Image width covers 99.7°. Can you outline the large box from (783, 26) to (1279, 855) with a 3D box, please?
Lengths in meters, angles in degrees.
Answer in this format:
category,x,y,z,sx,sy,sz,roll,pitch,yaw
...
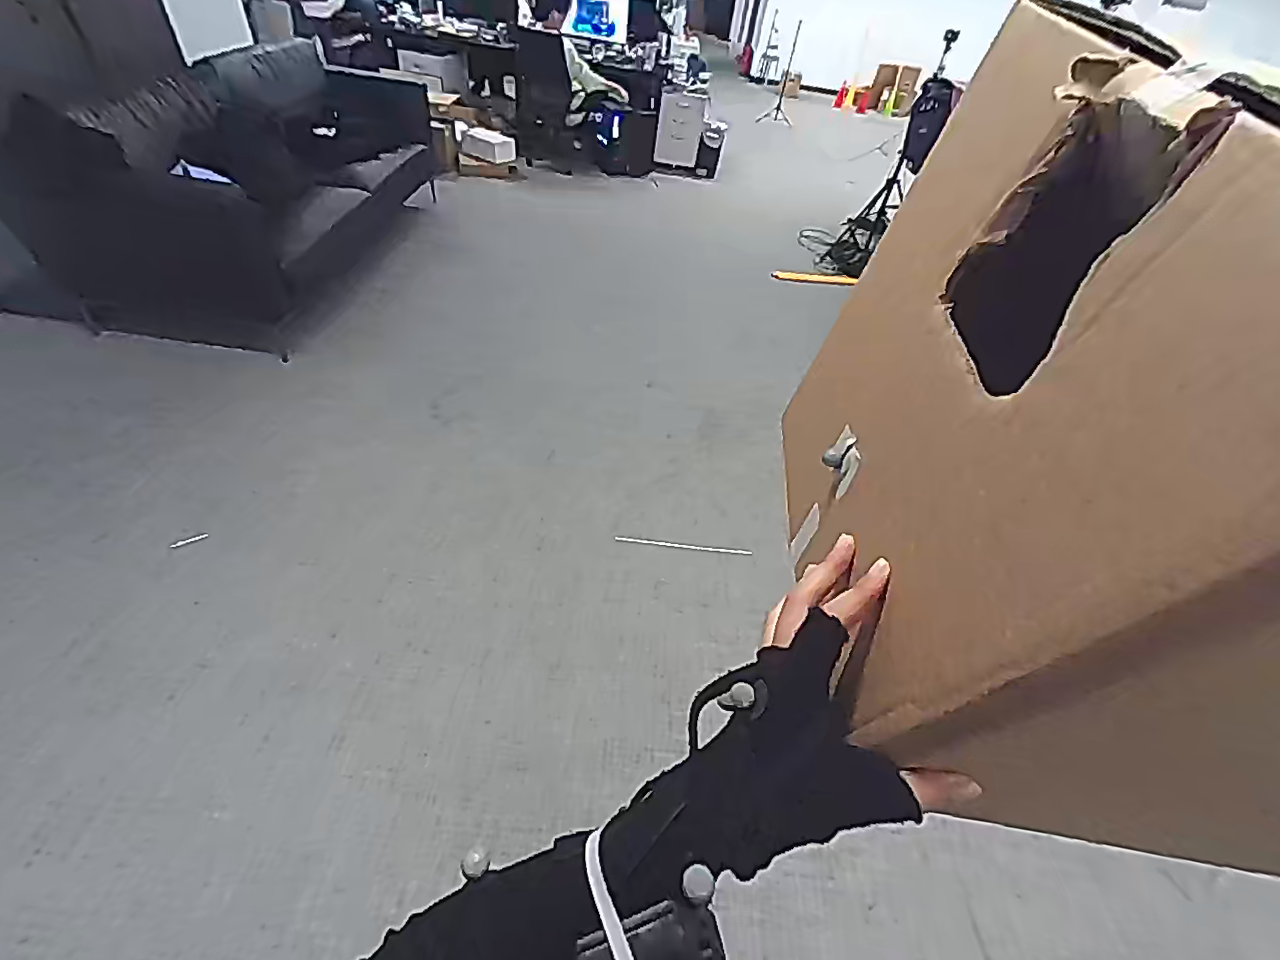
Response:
category,x,y,z,sx,sy,sz,roll,pitch,yaw
large box,0.342,0.009,0.319,0.408,0.320,0.320,13,50,-6
